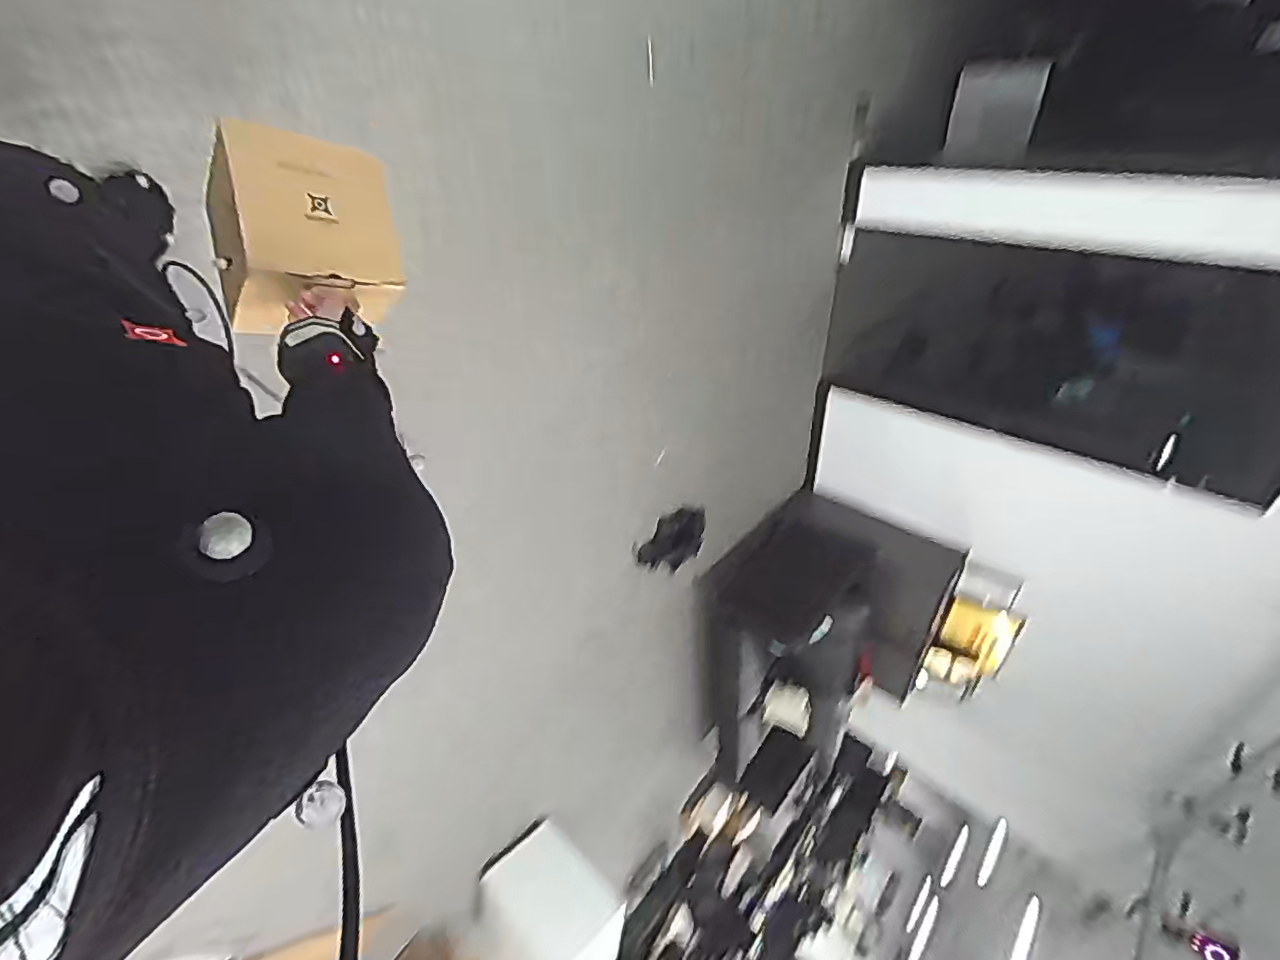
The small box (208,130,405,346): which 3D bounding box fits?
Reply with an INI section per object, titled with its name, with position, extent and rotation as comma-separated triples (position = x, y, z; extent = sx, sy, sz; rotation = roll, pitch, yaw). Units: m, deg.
[small box]
position = -0.423, -0.283, 0.684
extent = 0.168, 0.176, 0.179
rotation = -10, 83, -45
